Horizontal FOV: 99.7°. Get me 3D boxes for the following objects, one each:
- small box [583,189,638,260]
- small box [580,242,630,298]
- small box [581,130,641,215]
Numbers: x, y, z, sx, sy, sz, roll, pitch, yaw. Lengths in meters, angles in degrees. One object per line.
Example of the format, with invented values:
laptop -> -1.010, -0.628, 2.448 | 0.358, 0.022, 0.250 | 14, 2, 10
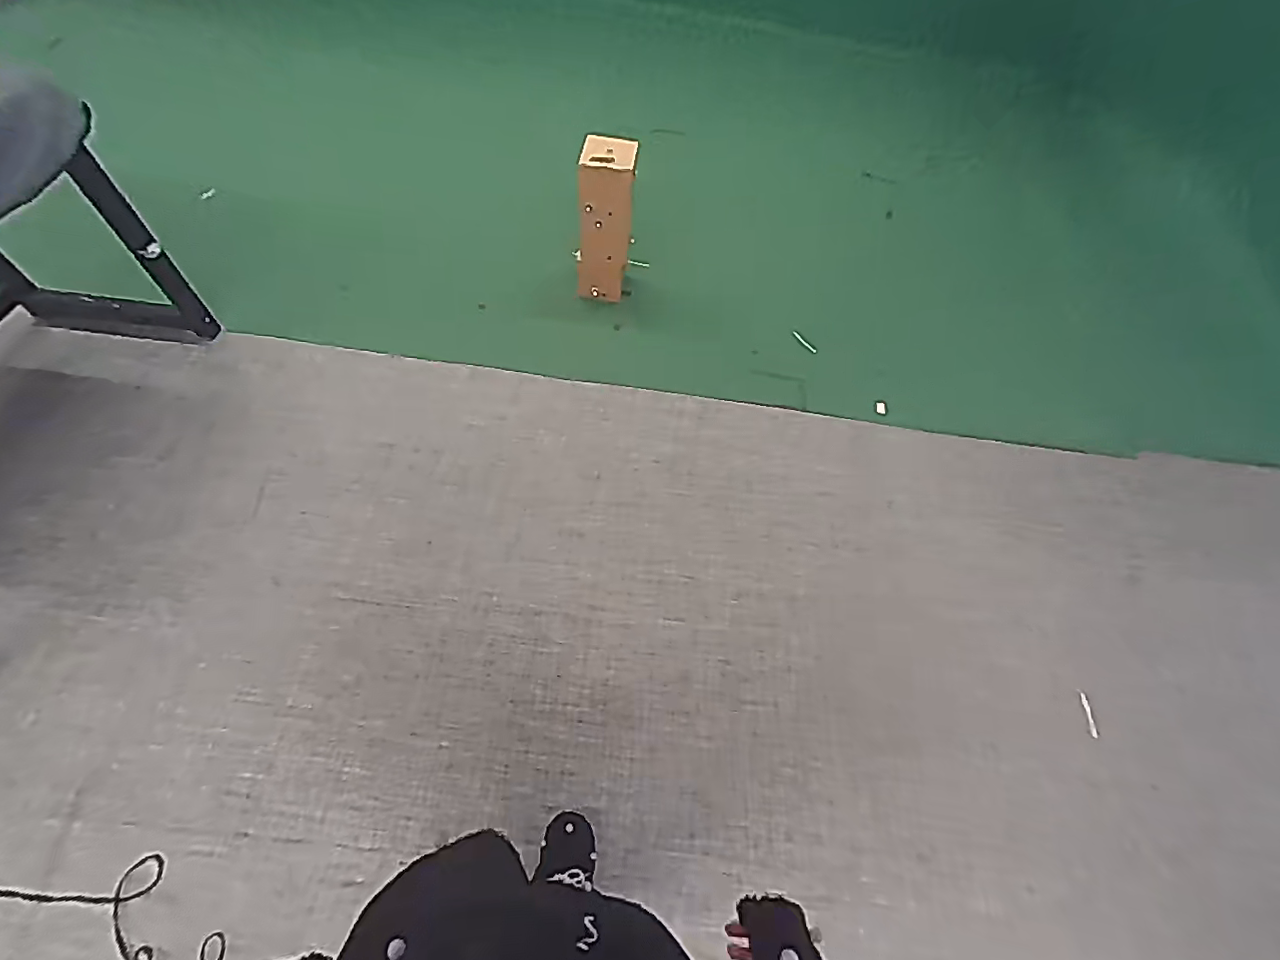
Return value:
small box -> -0.104, -0.898, 1.876 | 0.168, 0.176, 0.179 | 8, 58, 0
small box -> -0.127, -0.811, 2.013 | 0.168, 0.176, 0.179 | 8, 60, 0
small box -> -0.093, -0.982, 1.735 | 0.168, 0.176, 0.179 | 8, 58, -1
